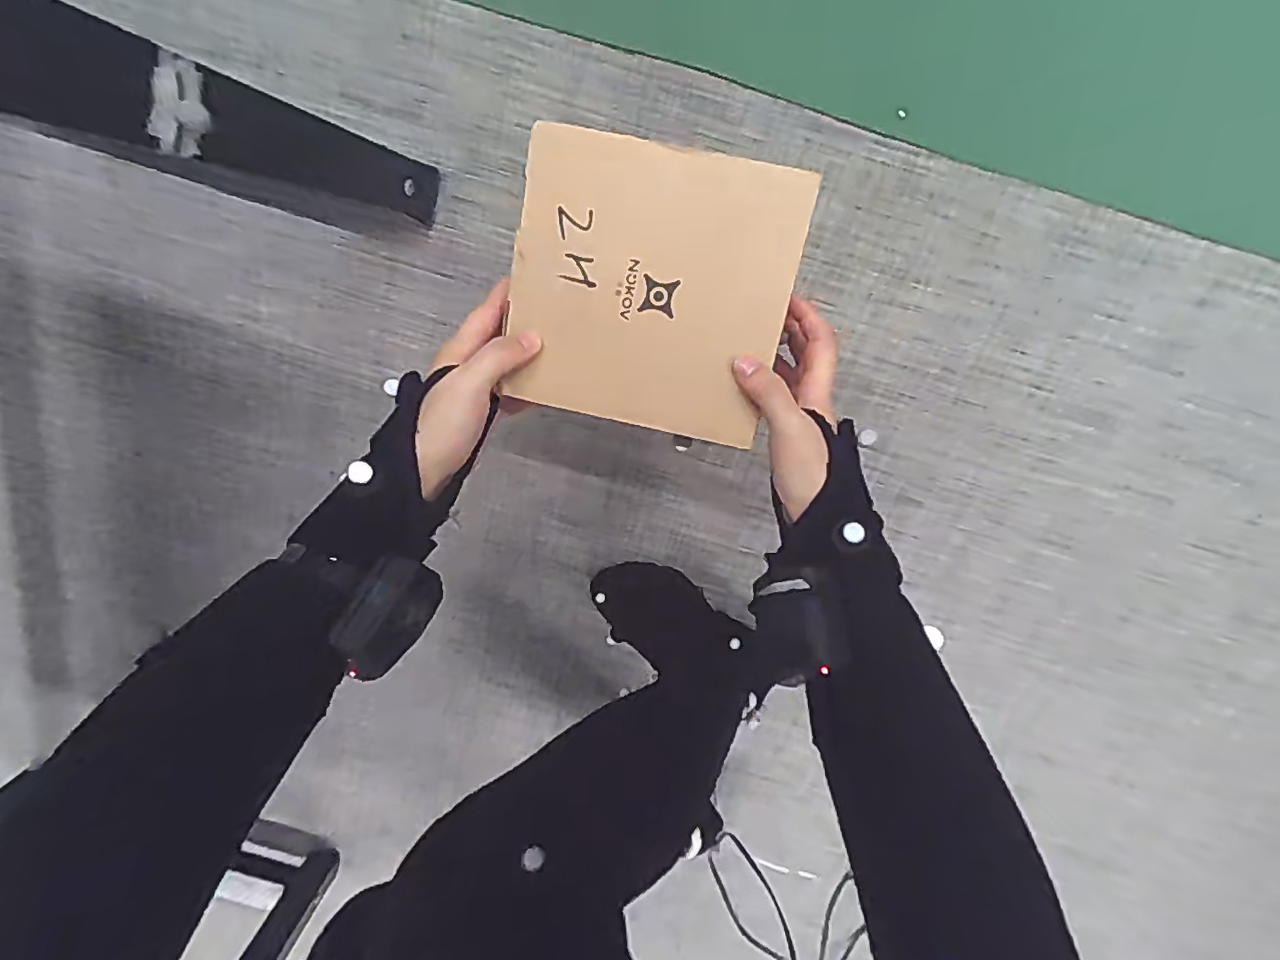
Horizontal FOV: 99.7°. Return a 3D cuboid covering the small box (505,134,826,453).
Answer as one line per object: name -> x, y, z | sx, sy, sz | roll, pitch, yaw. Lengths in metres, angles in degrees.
small box -> 0.019, -0.130, 0.414 | 0.179, 0.176, 0.168 | 13, 104, 5
